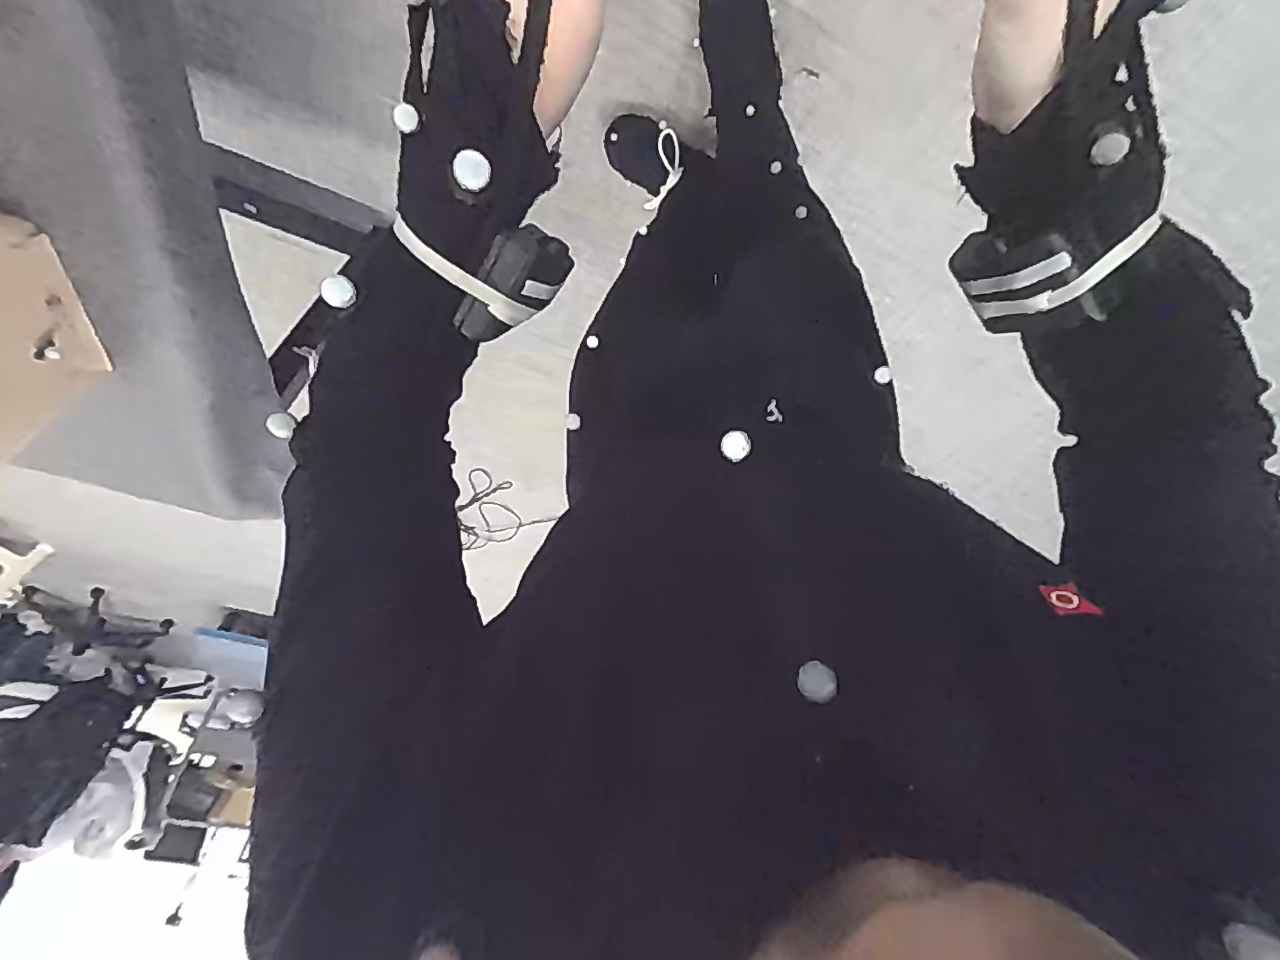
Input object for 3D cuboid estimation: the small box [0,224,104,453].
[{"bbox_3d":[-0.619,-0.122,0.441,0.179,0.176,0.168,15,138,-13],"label":"small box"}]
